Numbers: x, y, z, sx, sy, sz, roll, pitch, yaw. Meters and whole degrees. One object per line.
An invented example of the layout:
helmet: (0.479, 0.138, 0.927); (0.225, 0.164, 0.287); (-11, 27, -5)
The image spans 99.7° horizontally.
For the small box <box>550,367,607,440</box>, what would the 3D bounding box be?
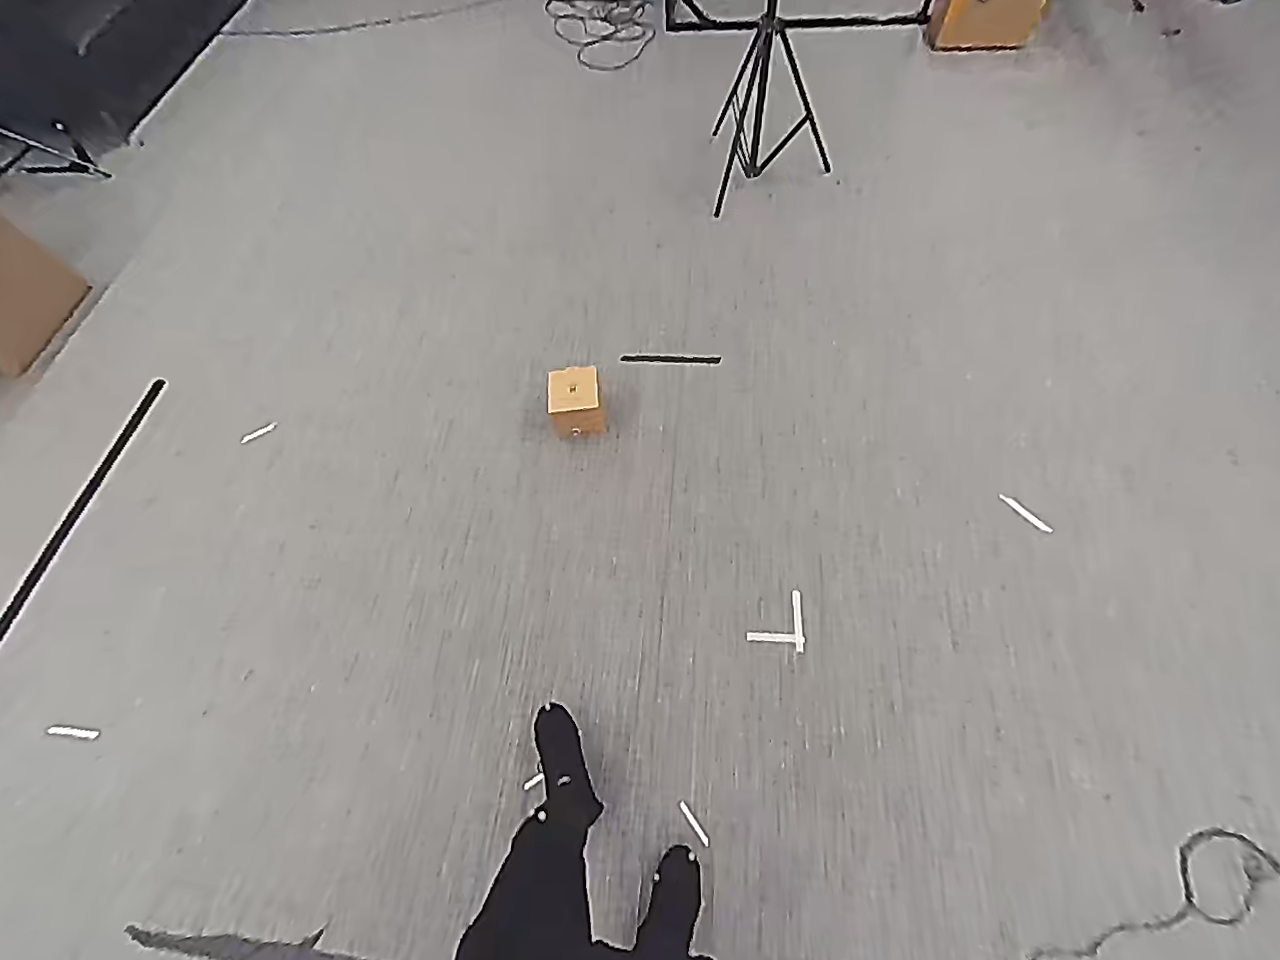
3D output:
small box: (-0.208, -0.258, 1.841); (0.168, 0.176, 0.179); (-6, 62, 2)
